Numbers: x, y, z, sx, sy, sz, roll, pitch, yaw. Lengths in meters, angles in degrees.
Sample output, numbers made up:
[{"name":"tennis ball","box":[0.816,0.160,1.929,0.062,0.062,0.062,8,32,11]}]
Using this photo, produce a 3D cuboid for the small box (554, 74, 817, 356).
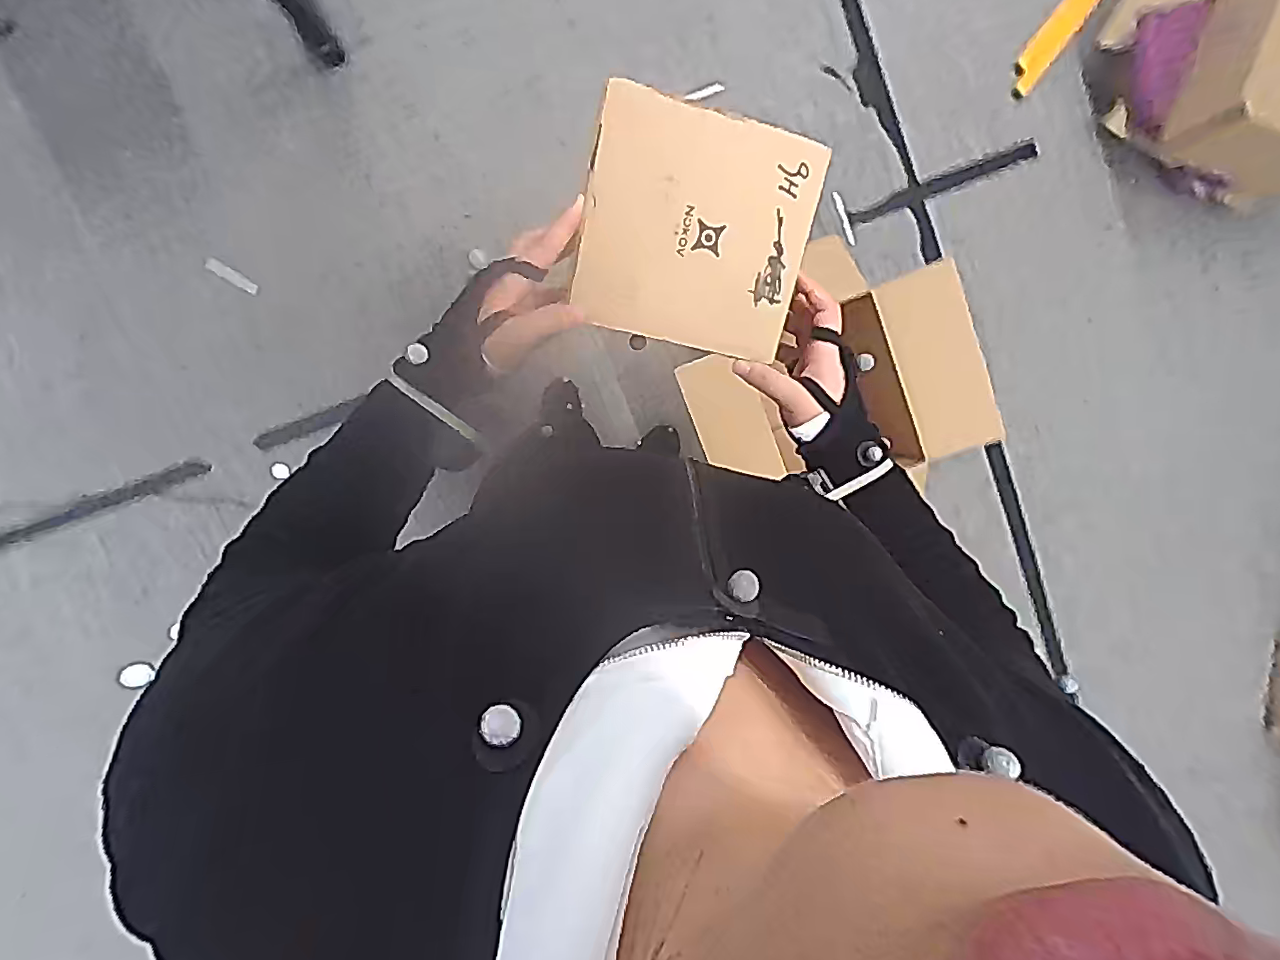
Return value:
[{"name":"small box","box":[0.022,-0.213,0.482,0.179,0.176,0.168,8,105,-12]}]
